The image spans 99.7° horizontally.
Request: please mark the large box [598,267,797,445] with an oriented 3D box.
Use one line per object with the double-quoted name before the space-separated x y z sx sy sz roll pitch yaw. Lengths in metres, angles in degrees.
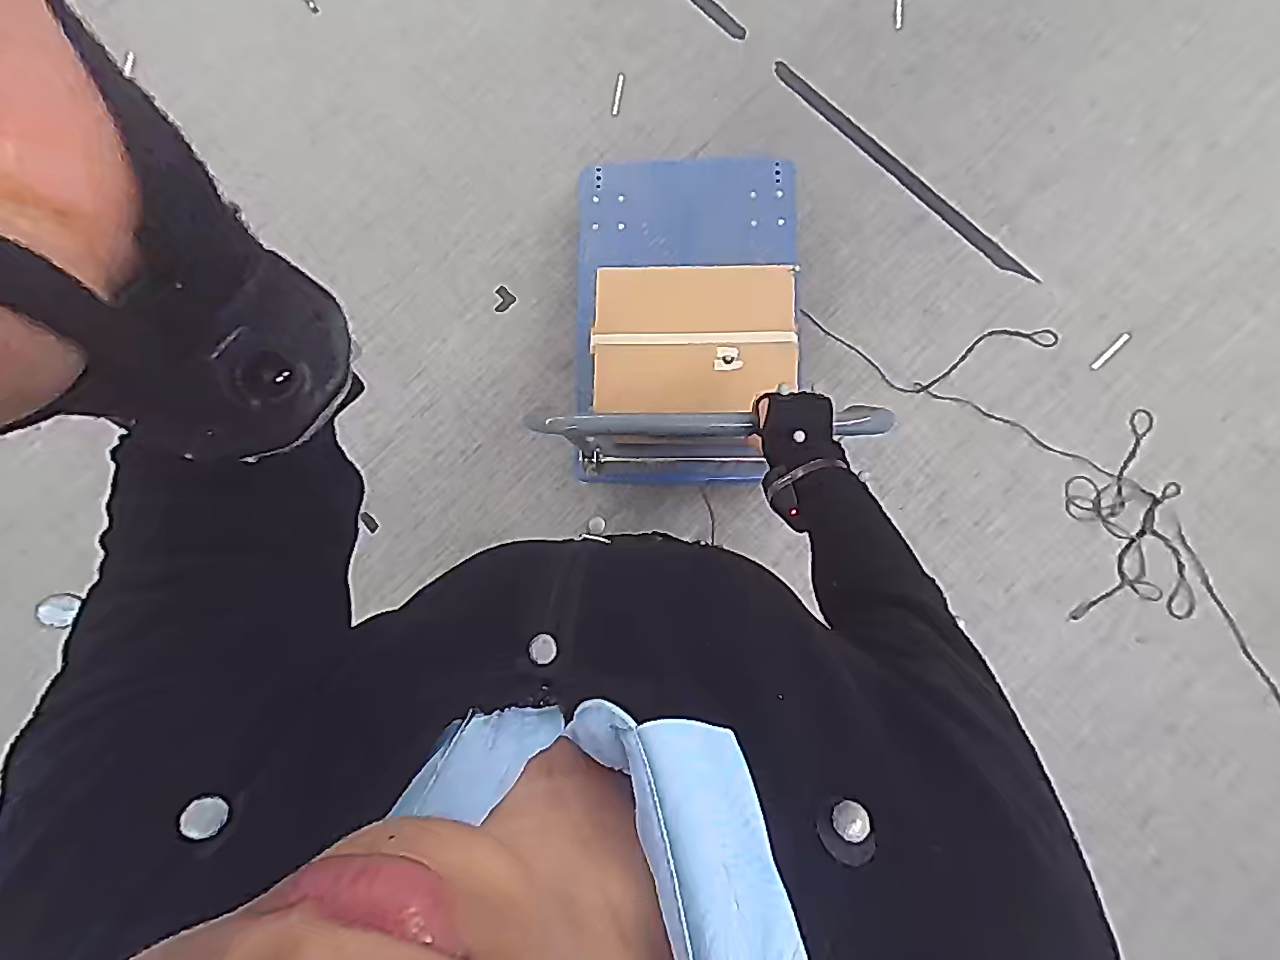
"large box" 0.116 -0.262 1.239 0.408 0.320 0.320 0 83 2
